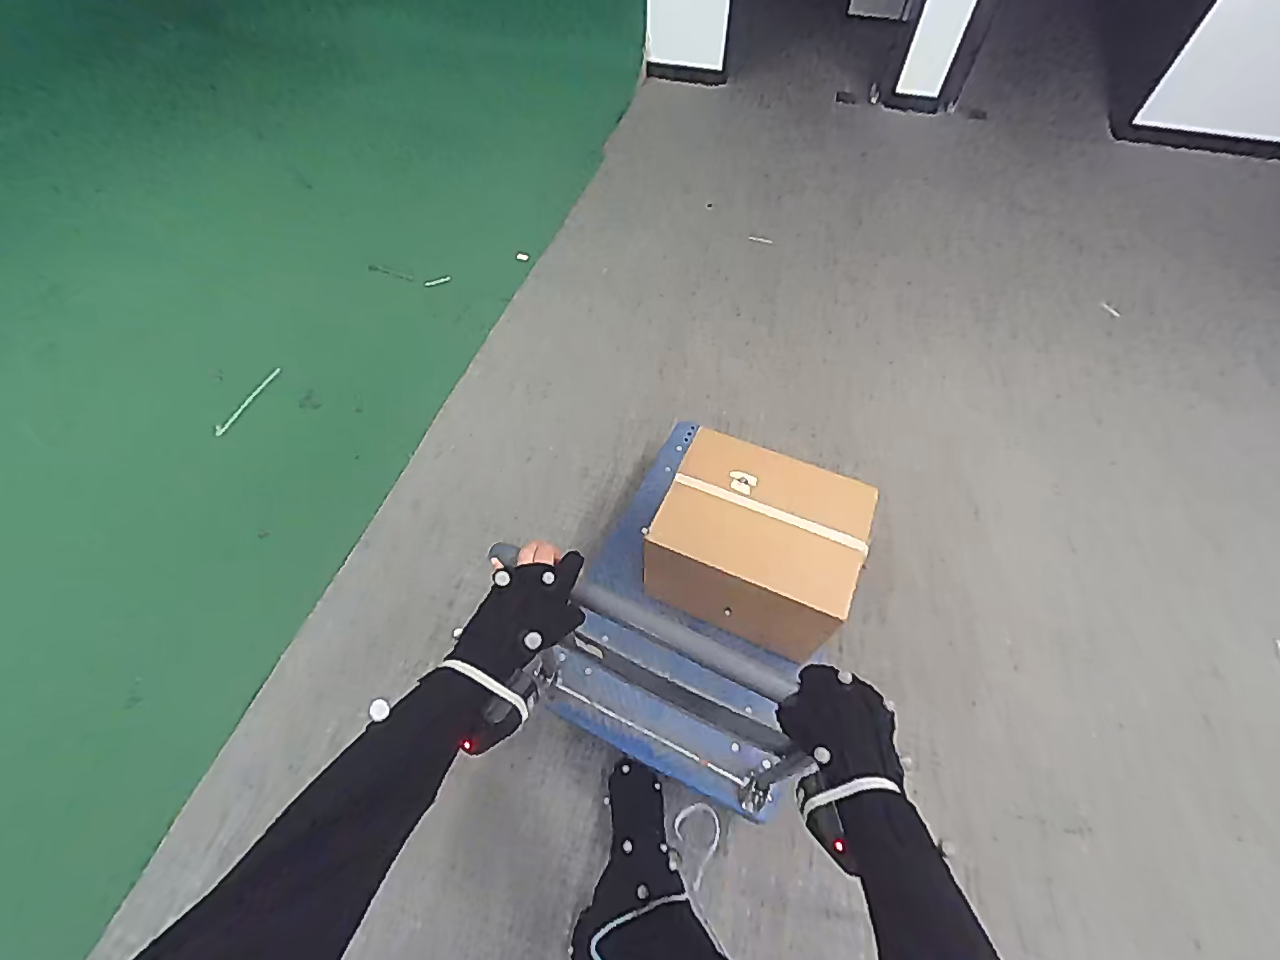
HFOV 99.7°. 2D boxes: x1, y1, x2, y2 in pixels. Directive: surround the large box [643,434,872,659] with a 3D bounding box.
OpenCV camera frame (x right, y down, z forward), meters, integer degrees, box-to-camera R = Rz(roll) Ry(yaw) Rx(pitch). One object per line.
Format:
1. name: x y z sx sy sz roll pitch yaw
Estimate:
1. large box: 0.253 0.157 1.233 0.408 0.320 0.320 21 59 14
